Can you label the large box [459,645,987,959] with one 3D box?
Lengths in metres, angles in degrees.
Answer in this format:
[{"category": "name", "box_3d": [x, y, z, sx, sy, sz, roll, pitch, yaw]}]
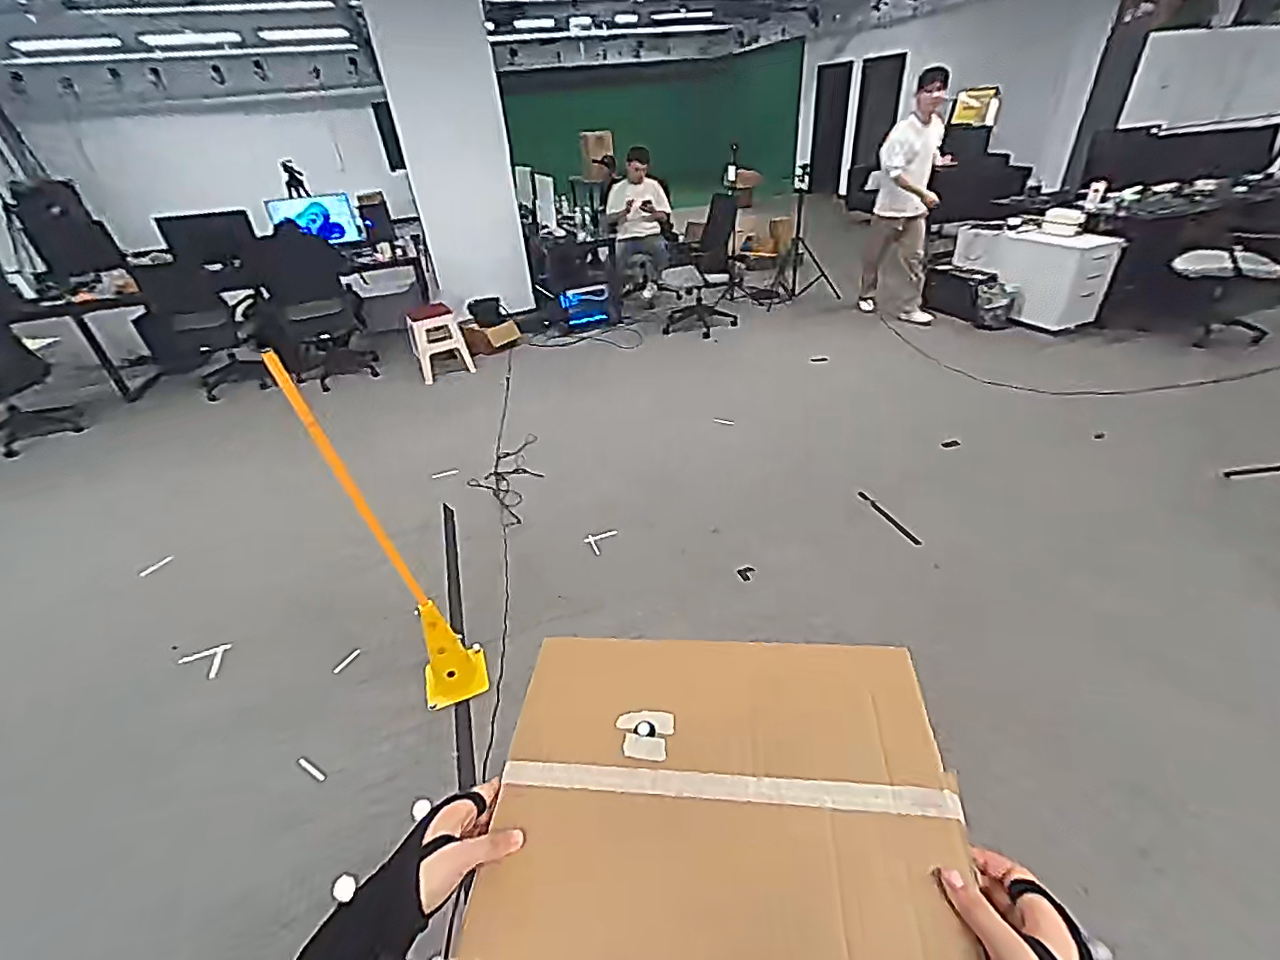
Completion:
[{"category": "large box", "box_3d": [0.089, 0.402, 0.591, 0.408, 0.320, 0.320, -3, 38, 11]}]
